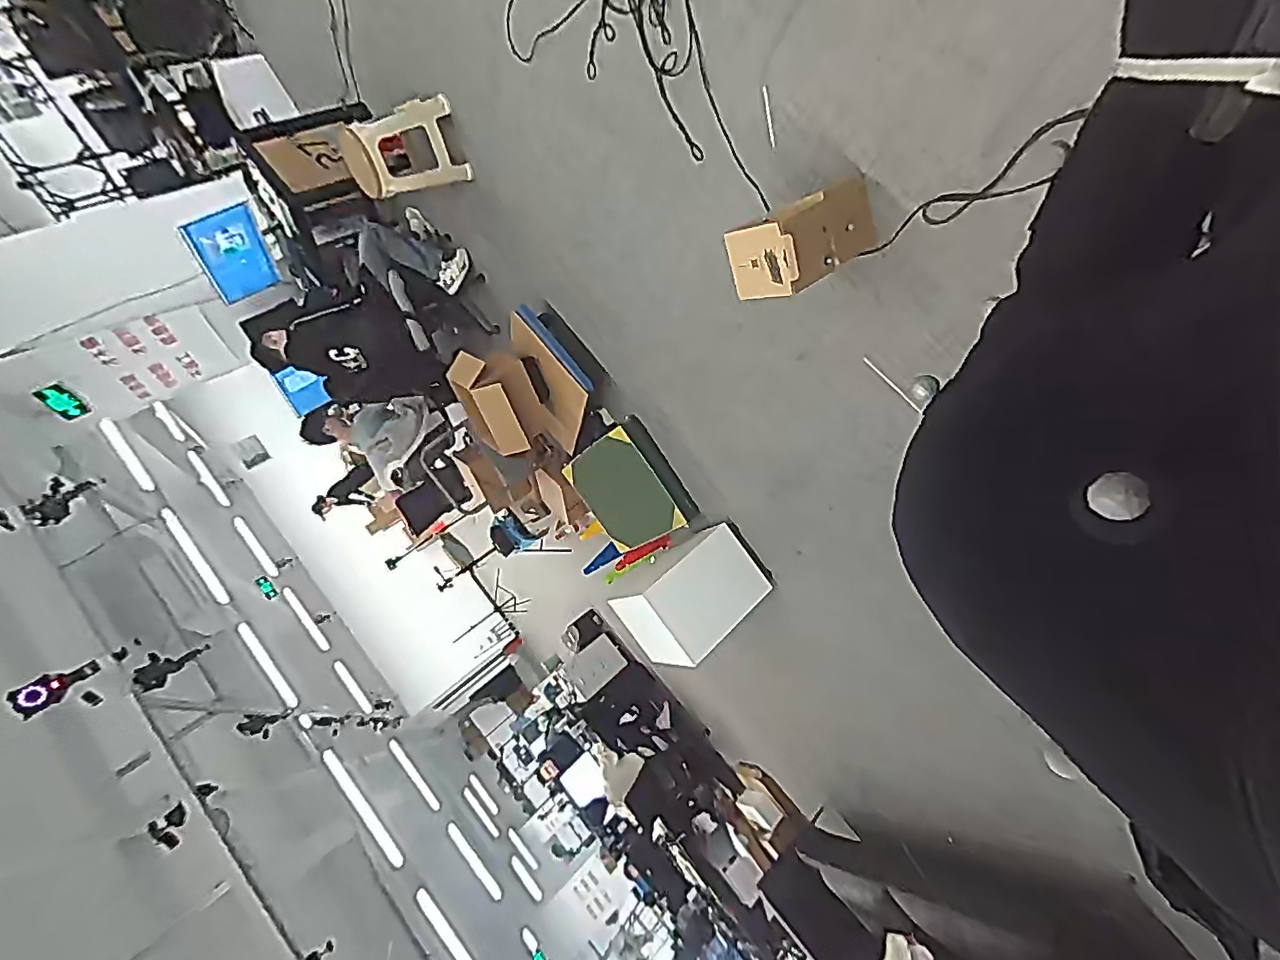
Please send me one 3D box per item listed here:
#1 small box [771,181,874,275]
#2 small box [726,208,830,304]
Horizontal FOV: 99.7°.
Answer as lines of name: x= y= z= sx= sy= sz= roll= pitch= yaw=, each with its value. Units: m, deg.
small box: x=0.469 y=-0.629 z=1.379 sx=0.168 sy=0.176 sz=0.179 roll=11 pitch=131 yaw=55
small box: x=0.343 y=-0.542 z=1.316 sx=0.179 sy=0.176 sz=0.168 roll=18 pitch=135 yaw=52
